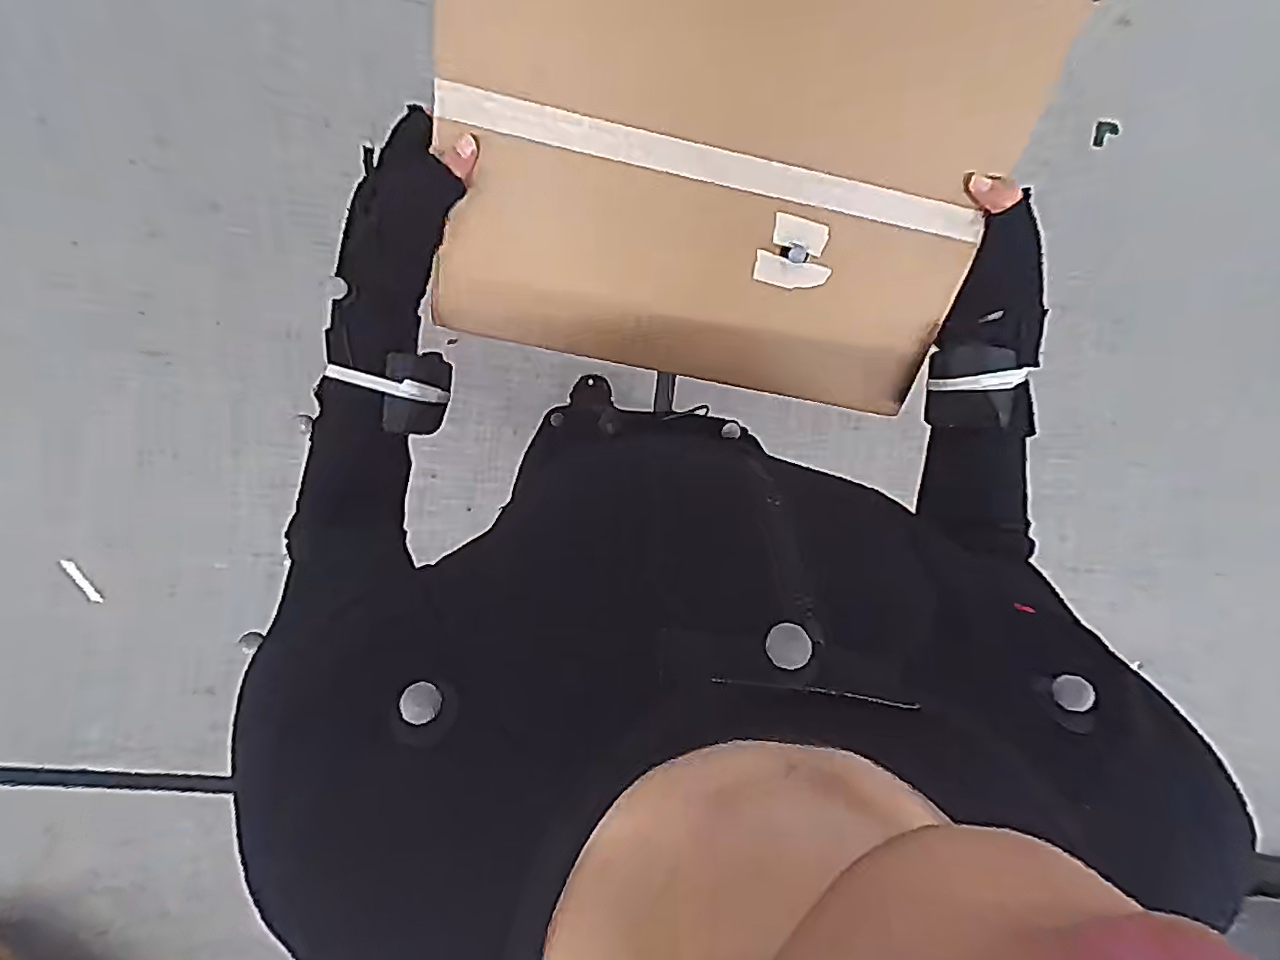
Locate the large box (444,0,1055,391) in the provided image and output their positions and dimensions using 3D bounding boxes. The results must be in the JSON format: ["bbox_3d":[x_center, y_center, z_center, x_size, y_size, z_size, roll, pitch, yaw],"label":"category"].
[{"bbox_3d":[0.052,-0.311,0.528,0.408,0.320,0.320,9,120,-8],"label":"large box"}]
